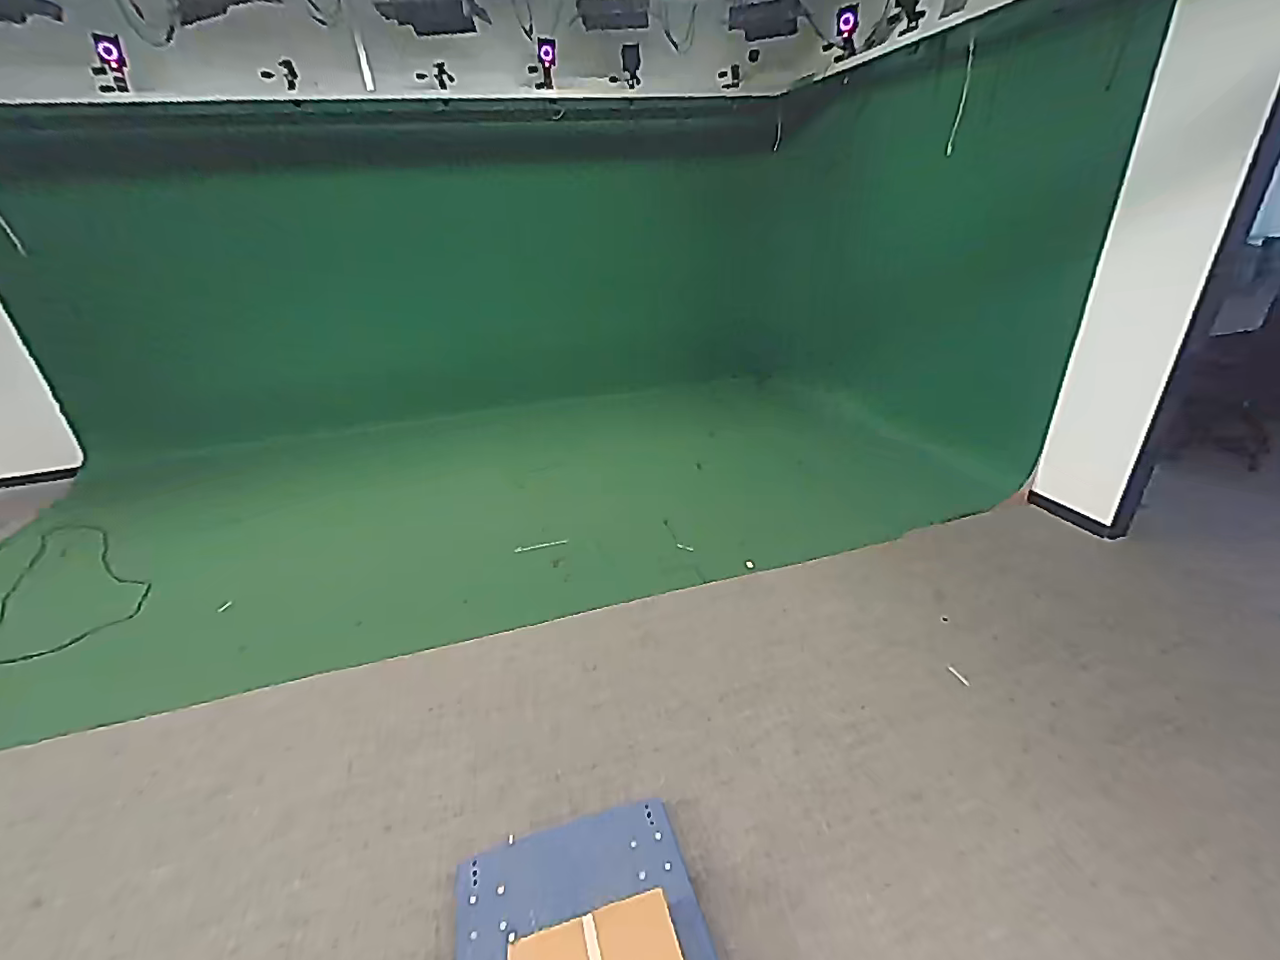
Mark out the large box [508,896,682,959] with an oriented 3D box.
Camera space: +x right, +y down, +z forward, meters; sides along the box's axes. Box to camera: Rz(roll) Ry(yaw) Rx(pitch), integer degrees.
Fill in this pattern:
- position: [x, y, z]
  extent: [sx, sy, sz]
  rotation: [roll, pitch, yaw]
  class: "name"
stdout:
- position: [-0.034, 1.078, 0.946]
  extent: [0.320, 0.320, 0.408]
  rotation: [-10, 26, -14]
  class: "large box"
